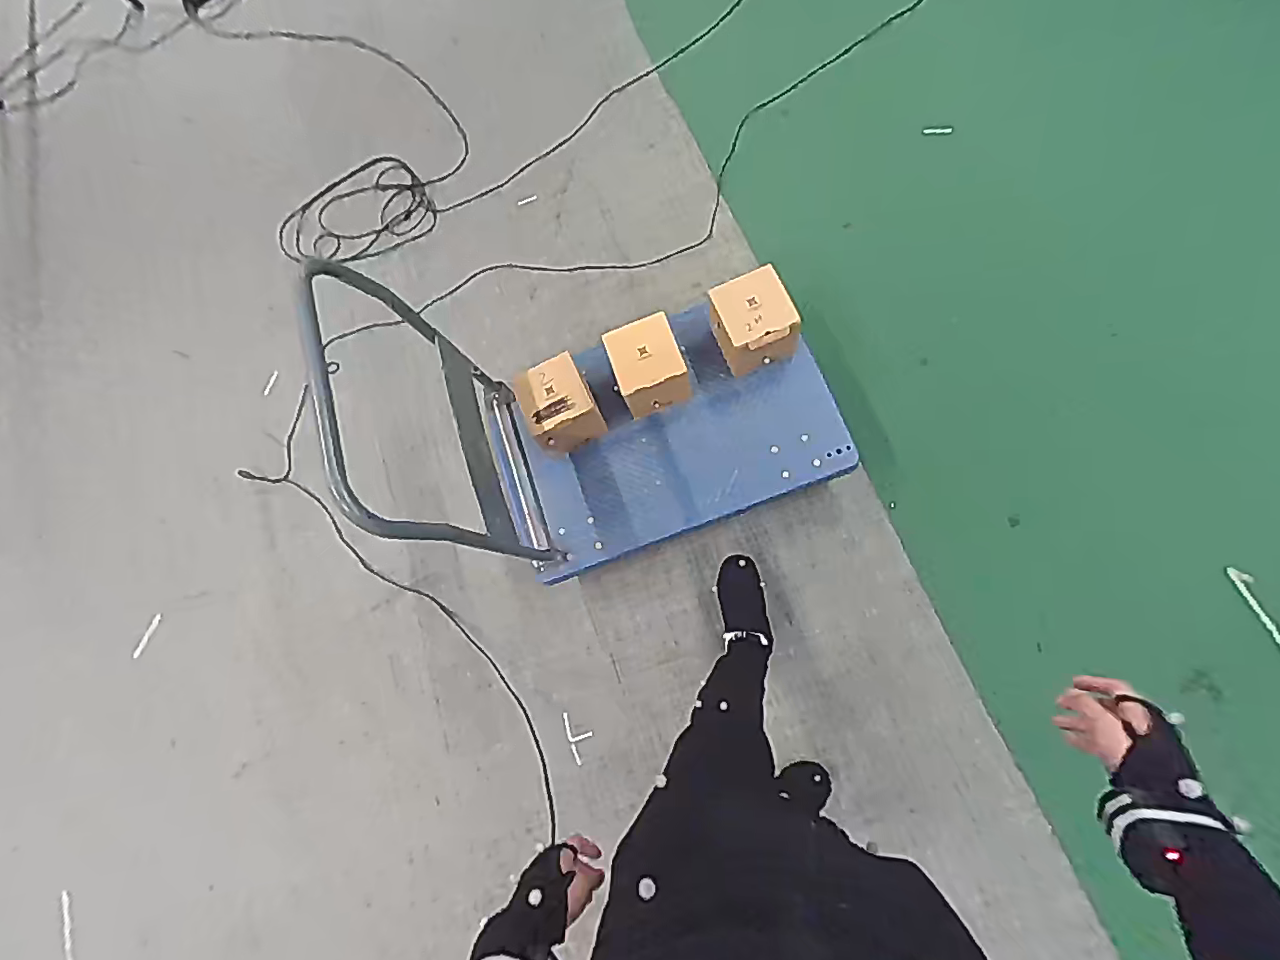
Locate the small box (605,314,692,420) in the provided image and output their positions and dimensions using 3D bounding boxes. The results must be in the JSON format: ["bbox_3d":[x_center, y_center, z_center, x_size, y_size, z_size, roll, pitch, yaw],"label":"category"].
[{"bbox_3d":[0.025,-0.280,1.370,0.168,0.176,0.179,-20,74,4],"label":"small box"}]

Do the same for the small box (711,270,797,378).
[{"bbox_3d":[0.281,-0.382,1.348,0.168,0.176,0.179,-16,74,8],"label":"small box"}]
